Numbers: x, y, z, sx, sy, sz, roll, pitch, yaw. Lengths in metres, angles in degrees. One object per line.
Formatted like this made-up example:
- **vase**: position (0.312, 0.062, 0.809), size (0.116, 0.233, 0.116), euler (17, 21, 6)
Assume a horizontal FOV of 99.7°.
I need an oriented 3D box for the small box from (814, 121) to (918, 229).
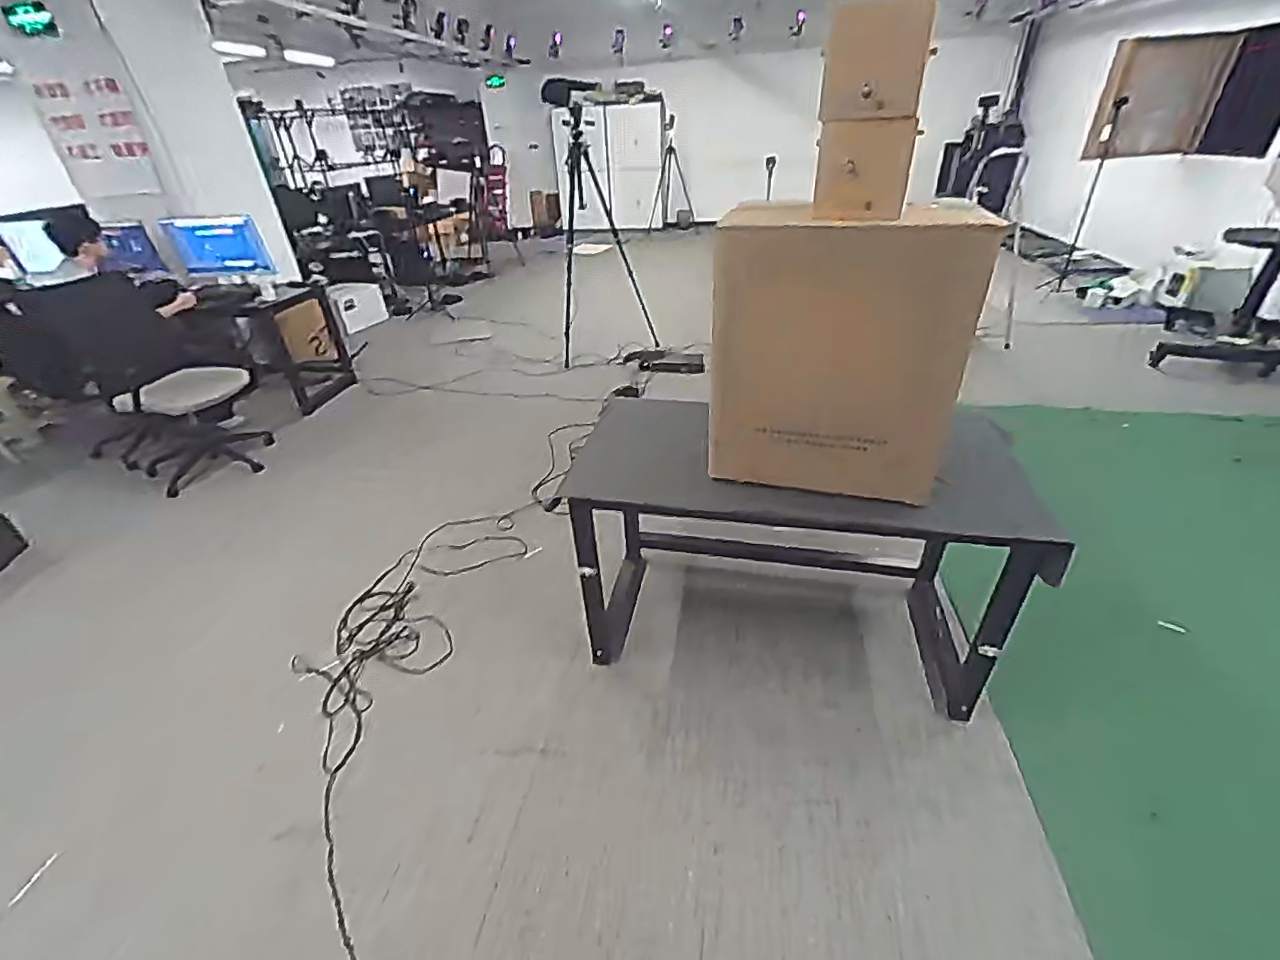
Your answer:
- **small box**: position (0.446, -0.603, 1.074), size (0.168, 0.176, 0.179), euler (10, 37, 20)
